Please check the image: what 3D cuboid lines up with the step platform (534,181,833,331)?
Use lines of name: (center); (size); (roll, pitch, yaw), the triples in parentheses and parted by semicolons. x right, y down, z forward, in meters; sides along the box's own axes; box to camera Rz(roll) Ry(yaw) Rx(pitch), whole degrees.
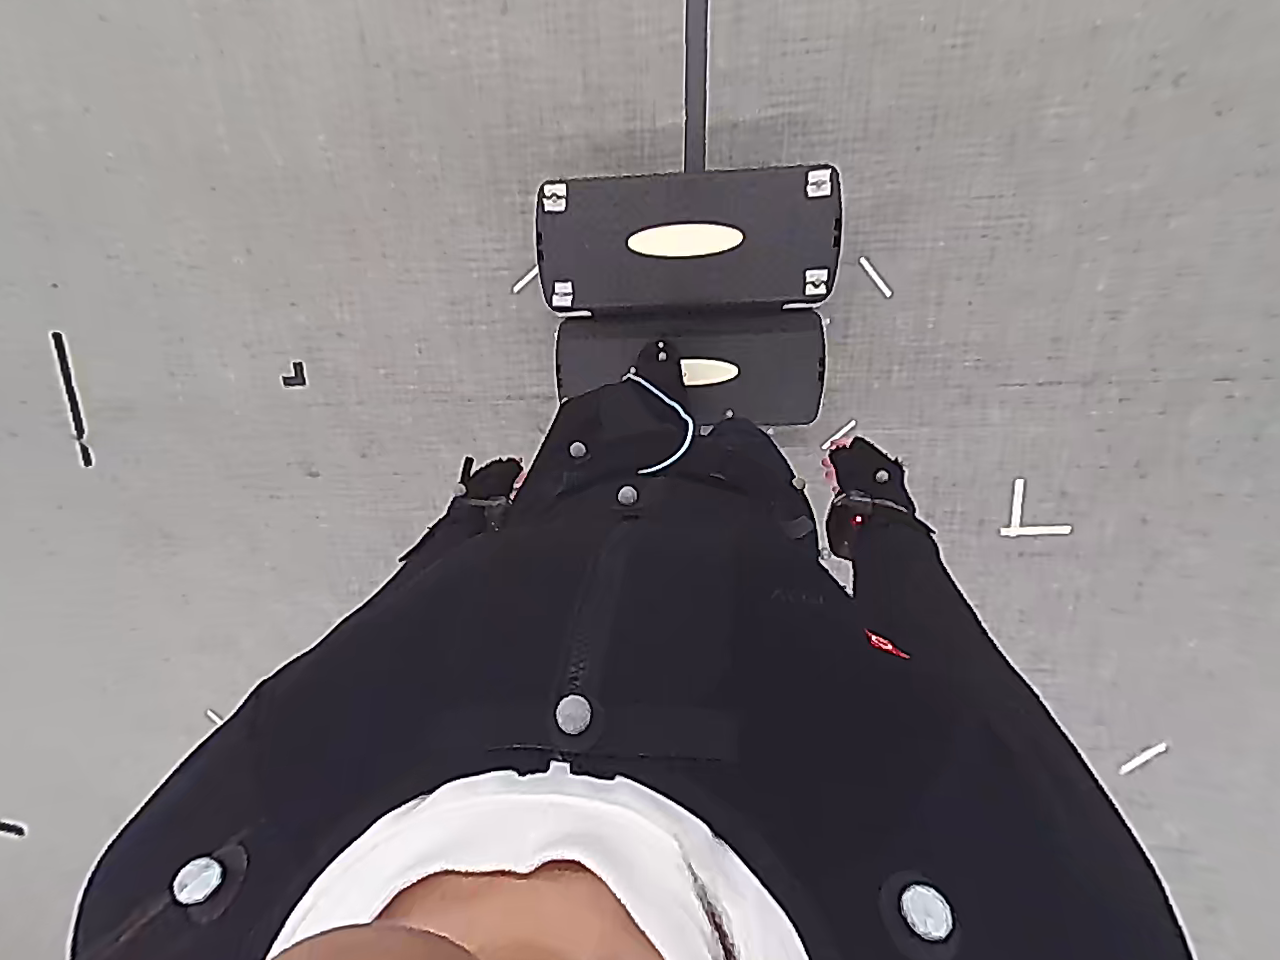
step platform: (0.095, -0.516, 1.281); (0.684, 0.204, 0.286); (-2, 104, 5)
